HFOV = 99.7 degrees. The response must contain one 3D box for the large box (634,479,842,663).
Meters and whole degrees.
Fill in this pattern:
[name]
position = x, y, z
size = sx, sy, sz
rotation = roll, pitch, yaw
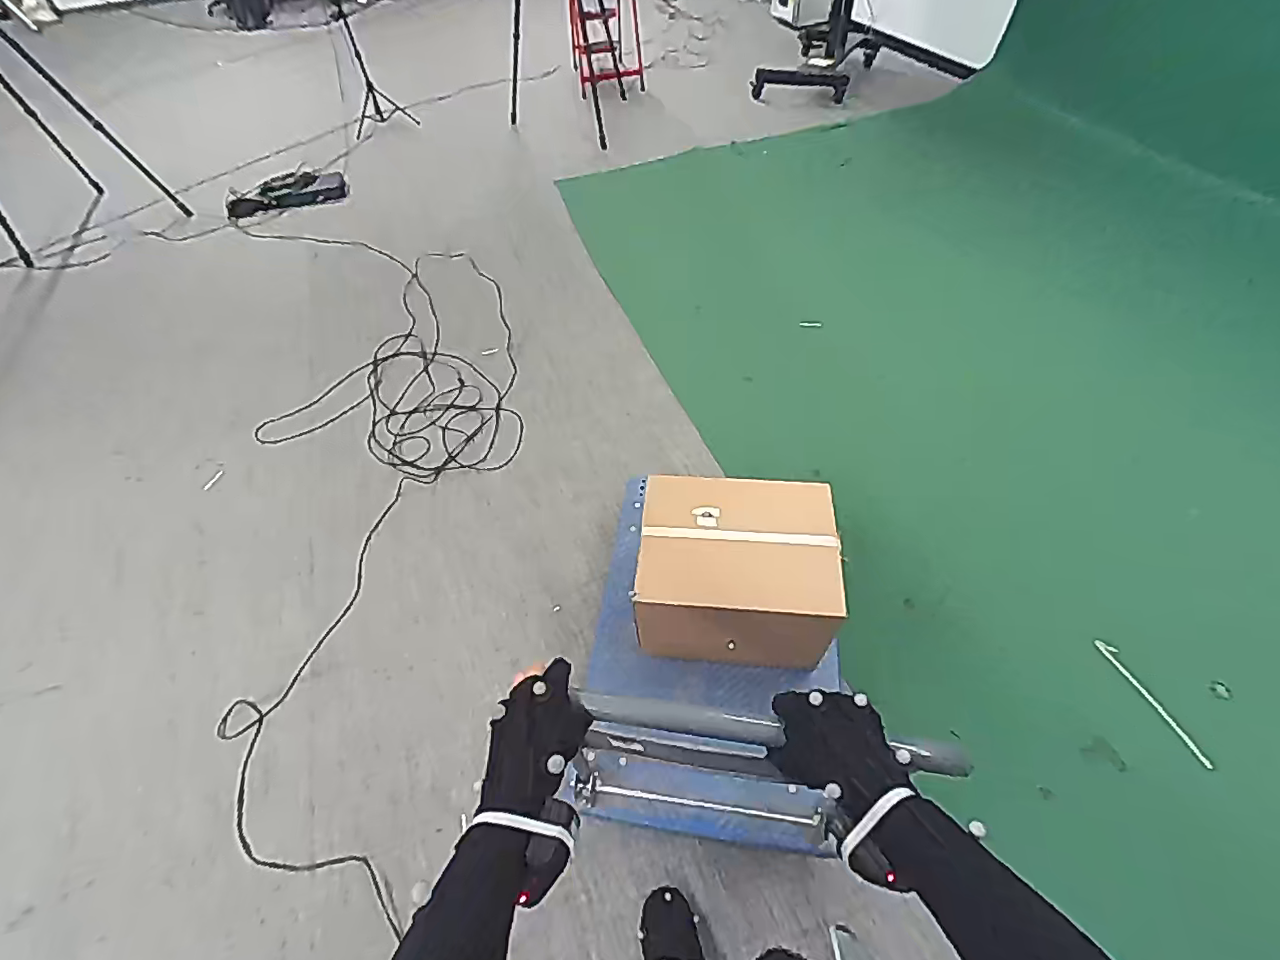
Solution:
[large box]
position = 0.210, 0.214, 1.244
size = 0.408, 0.320, 0.320
rotation = 2, 53, 7
